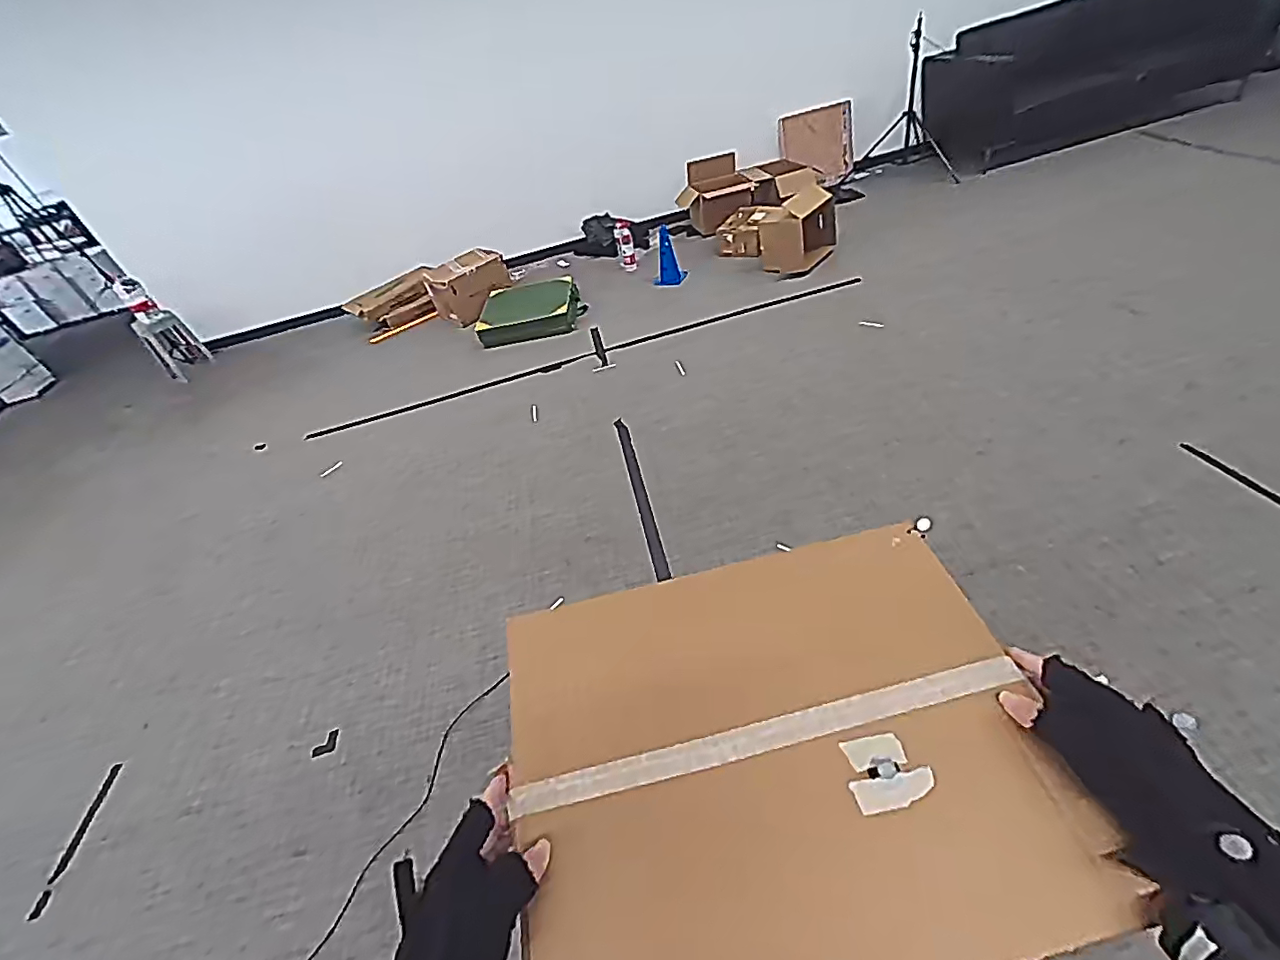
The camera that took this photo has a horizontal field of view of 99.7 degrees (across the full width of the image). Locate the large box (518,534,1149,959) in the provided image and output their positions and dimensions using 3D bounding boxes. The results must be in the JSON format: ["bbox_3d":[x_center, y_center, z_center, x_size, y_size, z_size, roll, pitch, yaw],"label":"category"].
[{"bbox_3d":[0.121,0.308,0.541,0.408,0.320,0.320,-13,48,-3],"label":"large box"}]
